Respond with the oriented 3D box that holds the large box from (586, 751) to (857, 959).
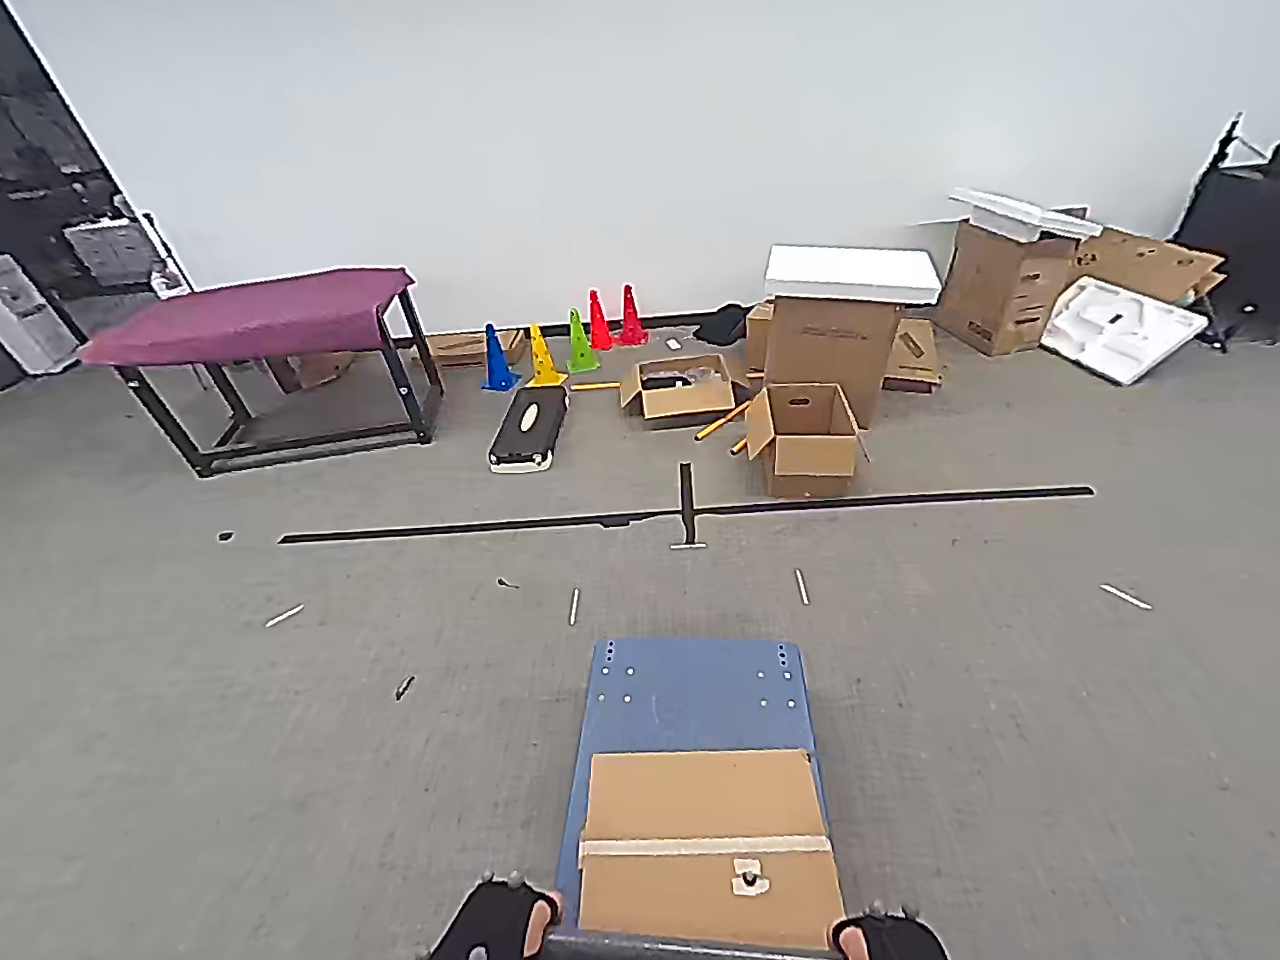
[{"bbox_3d":[0.123,0.730,0.989,0.408,0.320,0.320,-3,39,2],"label":"large box"}]
